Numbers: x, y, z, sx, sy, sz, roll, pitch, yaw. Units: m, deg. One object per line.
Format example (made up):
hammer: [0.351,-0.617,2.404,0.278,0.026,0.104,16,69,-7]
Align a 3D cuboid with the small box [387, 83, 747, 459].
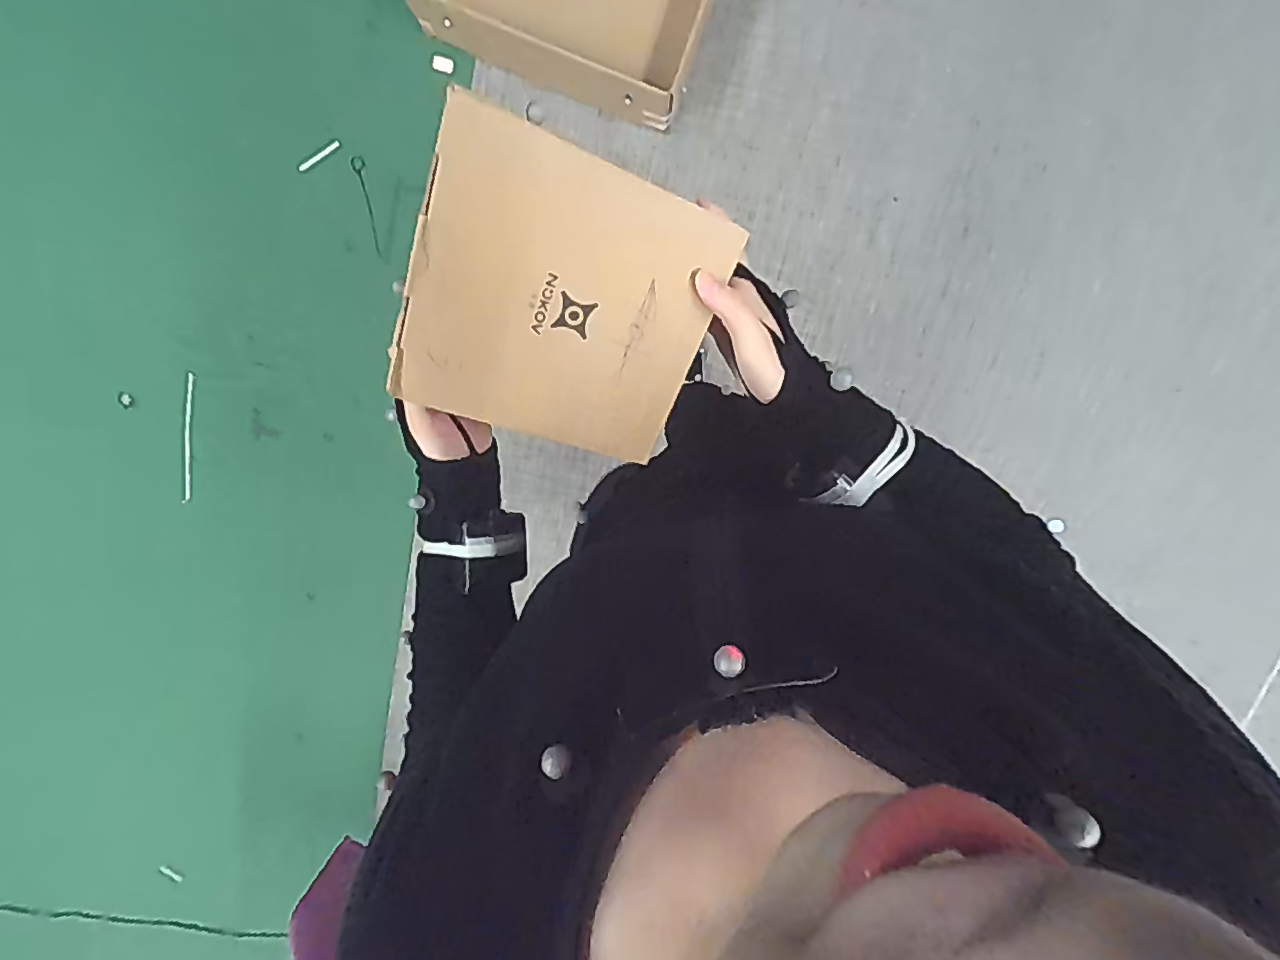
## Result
small box: [-0.062,-0.142,0.390,0.179,0.176,0.168,15,115,-25]
